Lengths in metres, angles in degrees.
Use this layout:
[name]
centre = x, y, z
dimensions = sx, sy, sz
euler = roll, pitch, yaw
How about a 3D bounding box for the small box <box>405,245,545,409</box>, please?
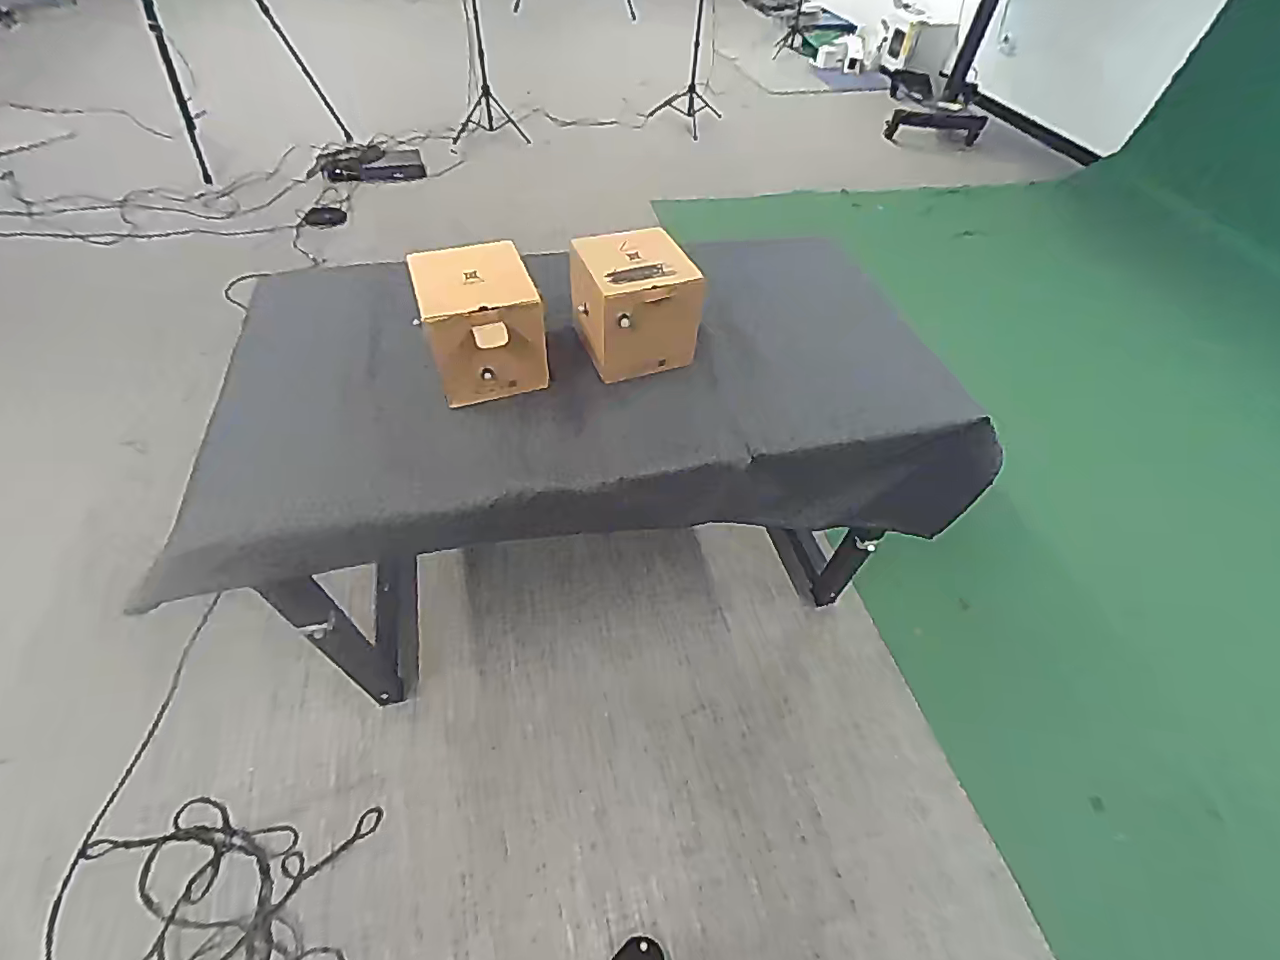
[small box]
centre = -0.255, -0.241, 0.854
dimensions = 0.168, 0.176, 0.179
euler = -16, 55, -17
